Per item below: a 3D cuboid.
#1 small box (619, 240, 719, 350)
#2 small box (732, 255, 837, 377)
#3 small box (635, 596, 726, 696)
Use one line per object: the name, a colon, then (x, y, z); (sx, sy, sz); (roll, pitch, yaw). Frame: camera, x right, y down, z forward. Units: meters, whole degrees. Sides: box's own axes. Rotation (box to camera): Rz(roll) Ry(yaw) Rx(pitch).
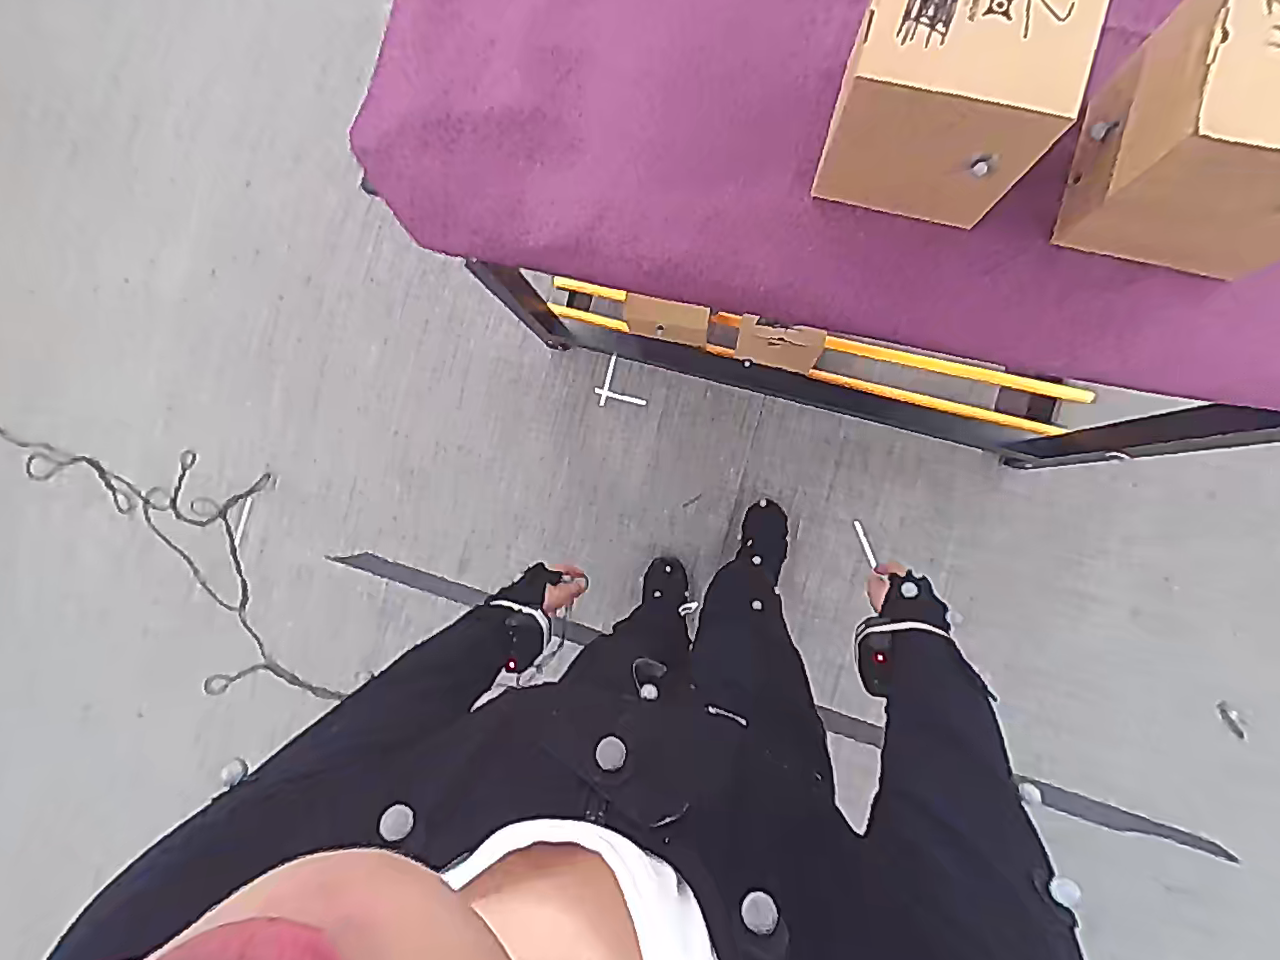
small box: (0.066, -0.389, 1.164); (0.179, 0.176, 0.168); (11, 90, 7)
small box: (0.294, -0.335, 1.134); (0.168, 0.176, 0.179); (14, 83, 7)
small box: (0.086, 0.369, 1.224); (0.179, 0.176, 0.168); (12, 85, 4)
